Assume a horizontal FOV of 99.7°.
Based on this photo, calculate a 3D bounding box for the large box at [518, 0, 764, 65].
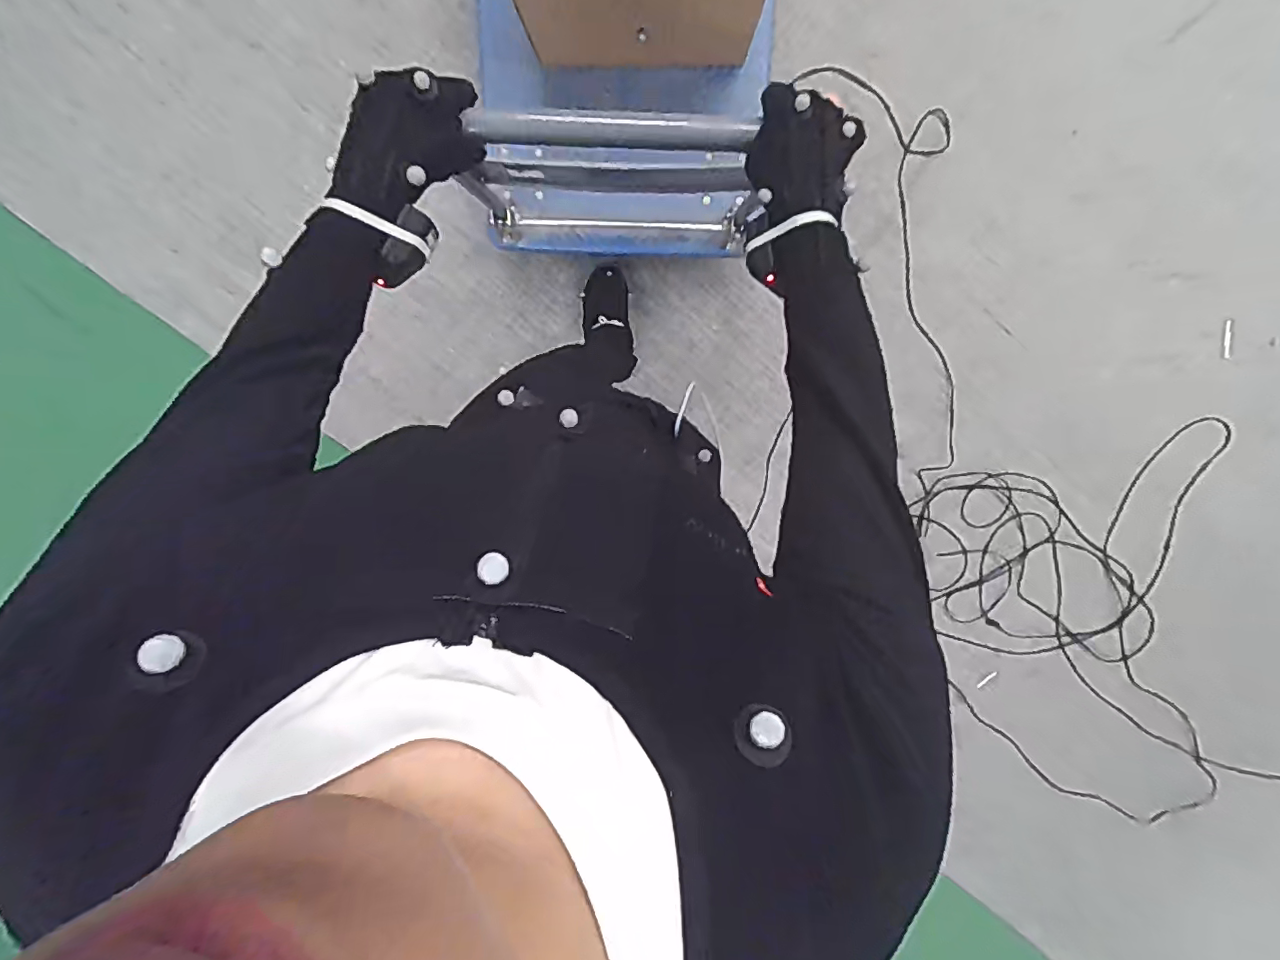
[{"bbox_3d":[0.001,-0.933,0.889,0.408,0.320,0.320,-1,105,1],"label":"large box"}]
